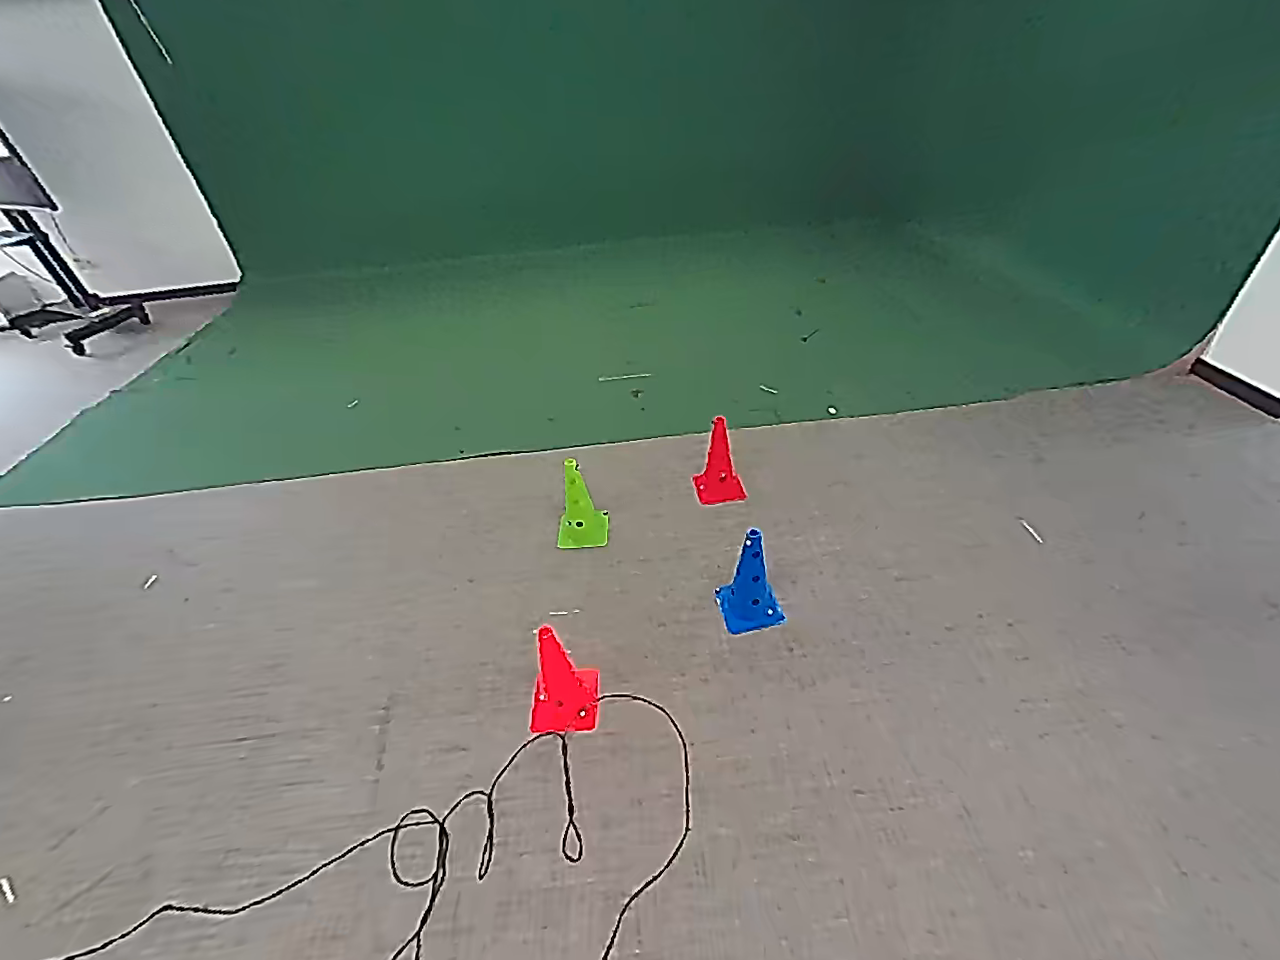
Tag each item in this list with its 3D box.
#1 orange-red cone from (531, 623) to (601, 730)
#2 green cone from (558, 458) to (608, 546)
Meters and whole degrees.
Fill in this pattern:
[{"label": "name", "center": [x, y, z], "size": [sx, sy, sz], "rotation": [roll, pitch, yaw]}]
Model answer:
[{"label": "orange-red cone", "center": [-0.234, 0.528, 1.536], "size": [0.198, 0.360, 0.199], "rotation": [-2, 38, 3]}, {"label": "green cone", "center": [-0.245, 0.062, 2.101], "size": [0.200, 0.368, 0.202], "rotation": [-5, 40, 2]}]
